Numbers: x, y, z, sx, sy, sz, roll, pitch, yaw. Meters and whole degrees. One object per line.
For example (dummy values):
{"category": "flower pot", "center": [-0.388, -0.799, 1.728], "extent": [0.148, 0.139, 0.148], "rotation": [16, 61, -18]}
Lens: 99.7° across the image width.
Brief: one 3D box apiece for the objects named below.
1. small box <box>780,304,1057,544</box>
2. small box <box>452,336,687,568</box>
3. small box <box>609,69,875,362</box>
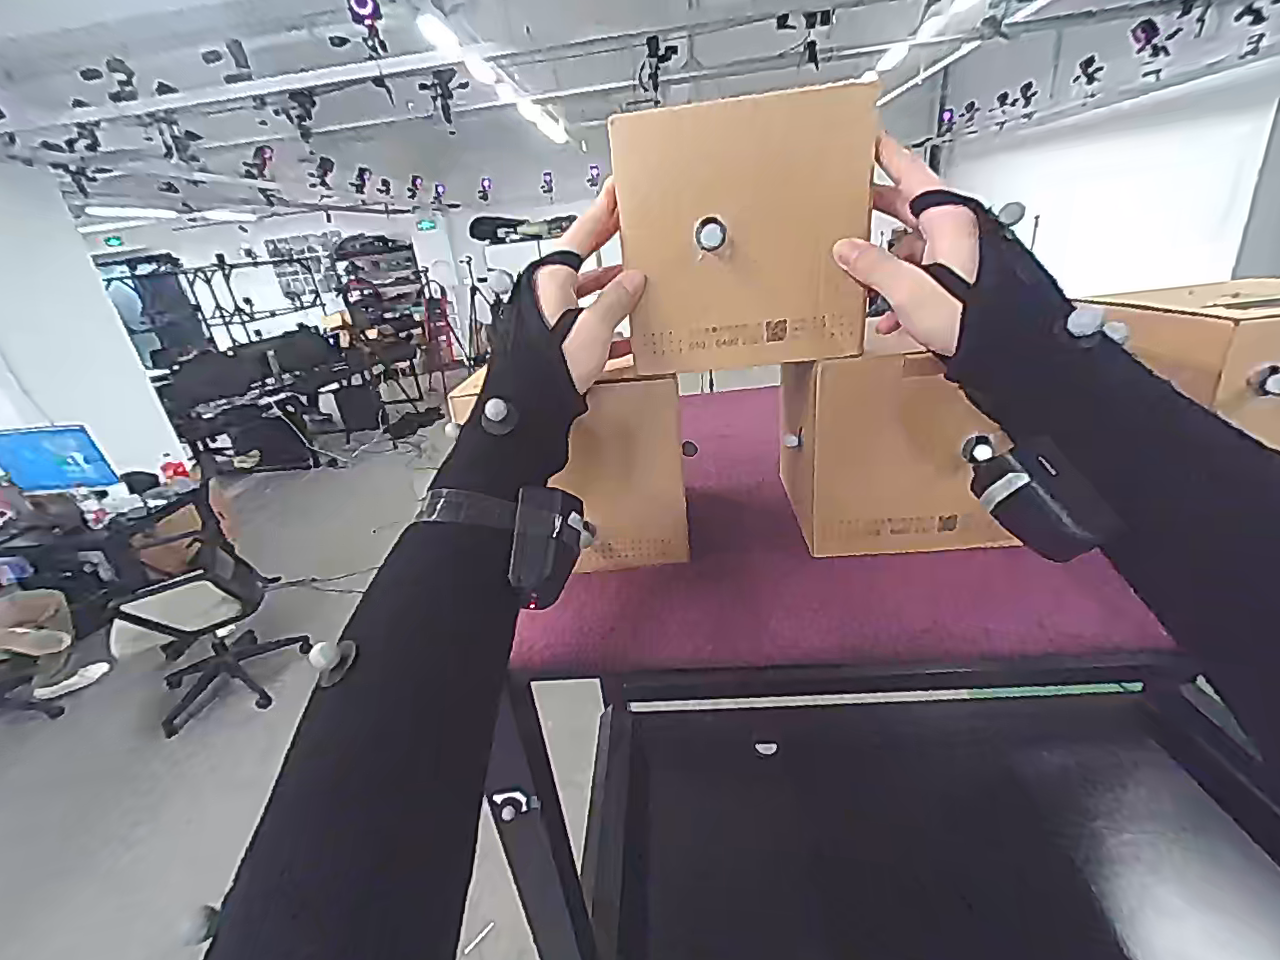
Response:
{"category": "small box", "center": [0.223, -0.052, 0.483], "extent": [0.168, 0.176, 0.179], "rotation": [-5, 23, 7]}
{"category": "small box", "center": [-0.048, -0.032, 0.504], "extent": [0.179, 0.176, 0.168], "rotation": [-4, 23, 2]}
{"category": "small box", "center": [0.076, -0.193, 0.435], "extent": [0.168, 0.176, 0.179], "rotation": [-5, 23, 6]}
